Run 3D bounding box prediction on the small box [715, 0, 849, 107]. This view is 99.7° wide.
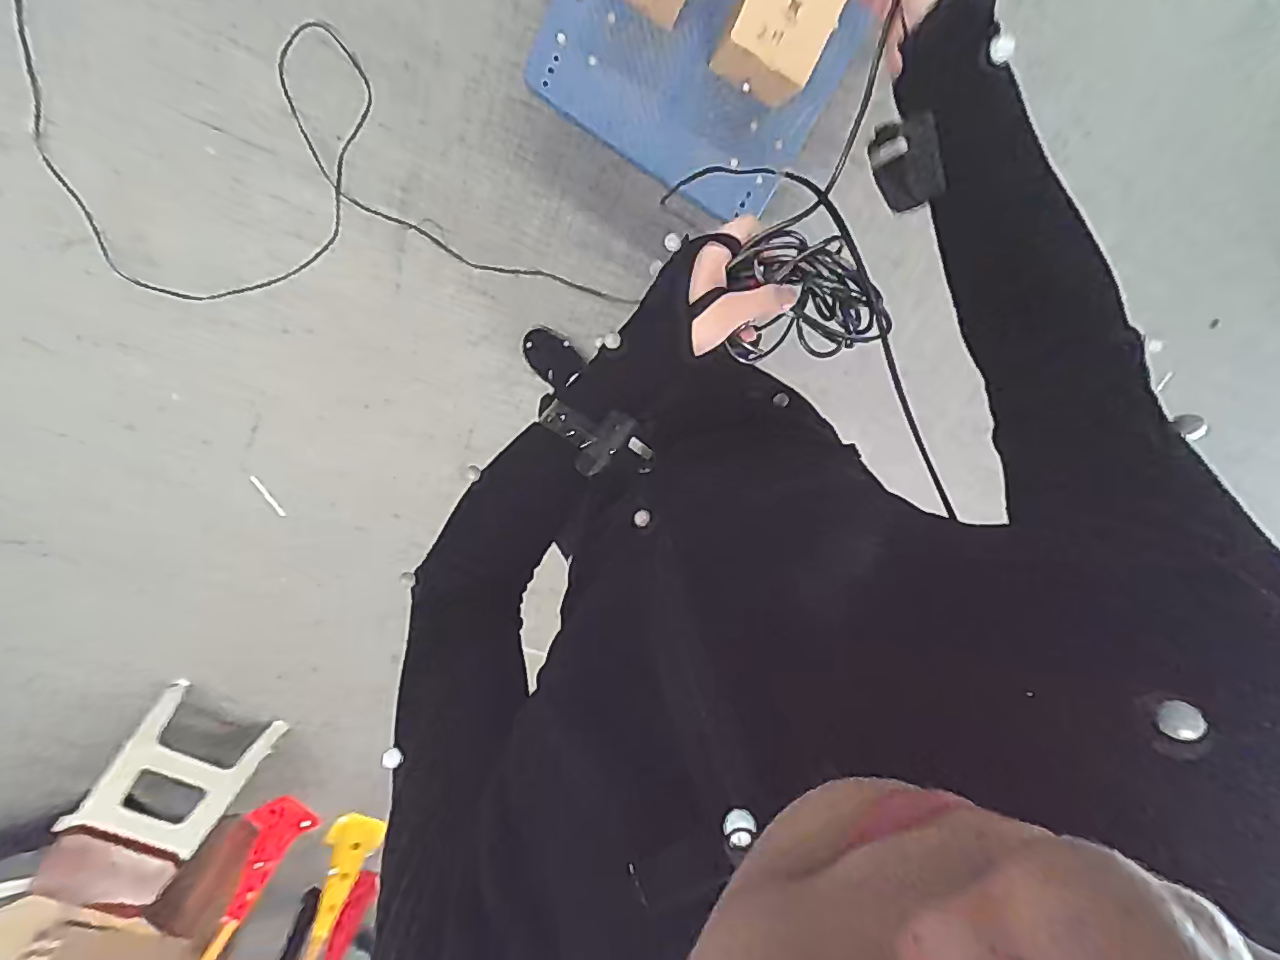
[{"bbox_3d":[0.261,-0.858,1.029,0.168,0.176,0.179,22,109,-15],"label":"small box"}]

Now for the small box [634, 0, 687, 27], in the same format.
[{"bbox_3d":[0.041,-0.963,0.955,0.168,0.176,0.179,24,107,-17],"label":"small box"}]
